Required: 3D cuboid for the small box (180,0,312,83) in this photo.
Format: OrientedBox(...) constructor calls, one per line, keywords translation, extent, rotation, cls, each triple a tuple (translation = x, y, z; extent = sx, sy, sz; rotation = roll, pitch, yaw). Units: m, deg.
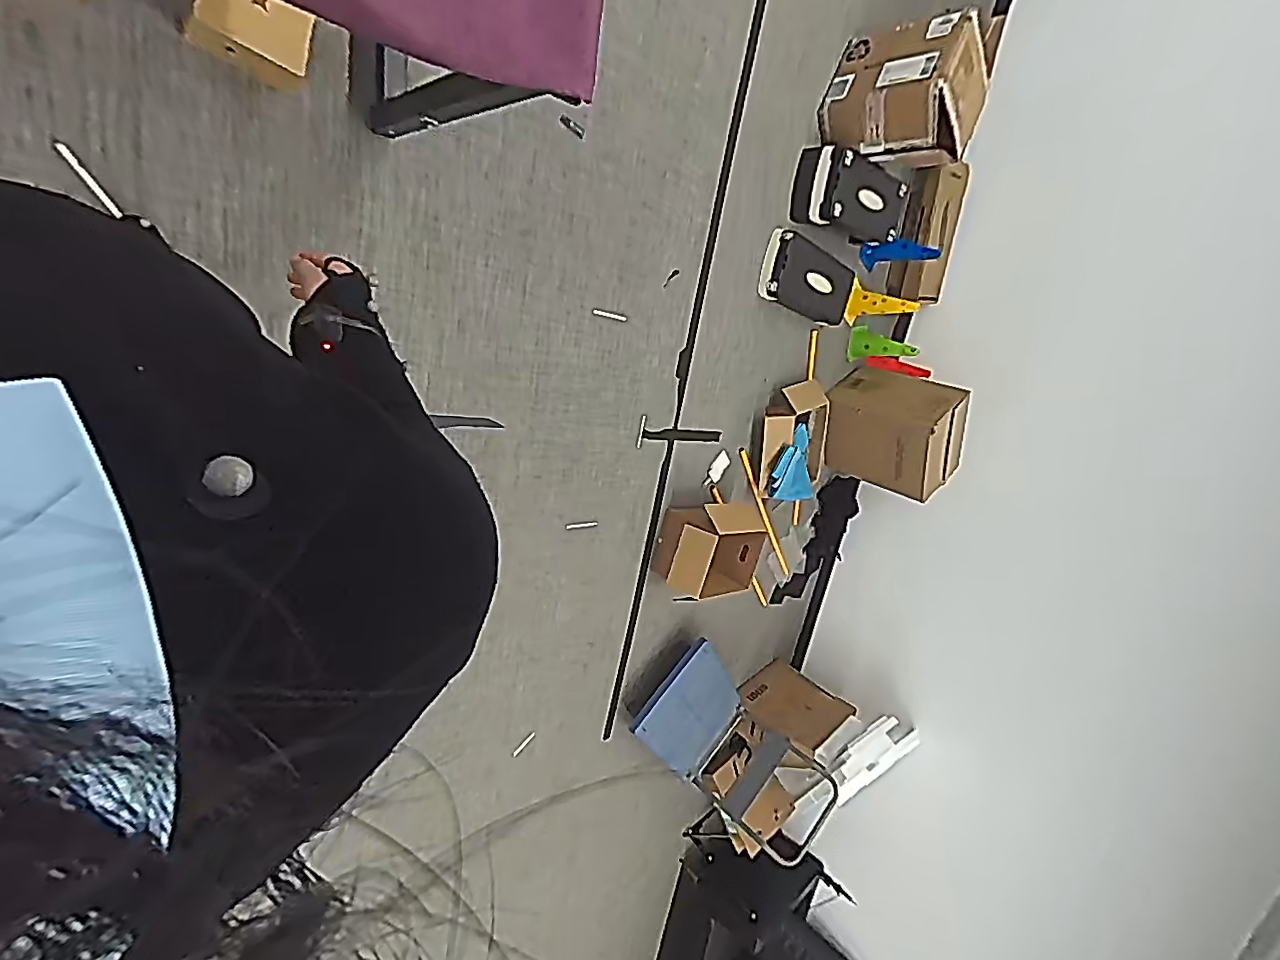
OrientedBox(translation=(-0.725, -0.875, 0.994), extent=(0.168, 0.176, 0.179), rotation=(7, 103, -47), cls="small box")
